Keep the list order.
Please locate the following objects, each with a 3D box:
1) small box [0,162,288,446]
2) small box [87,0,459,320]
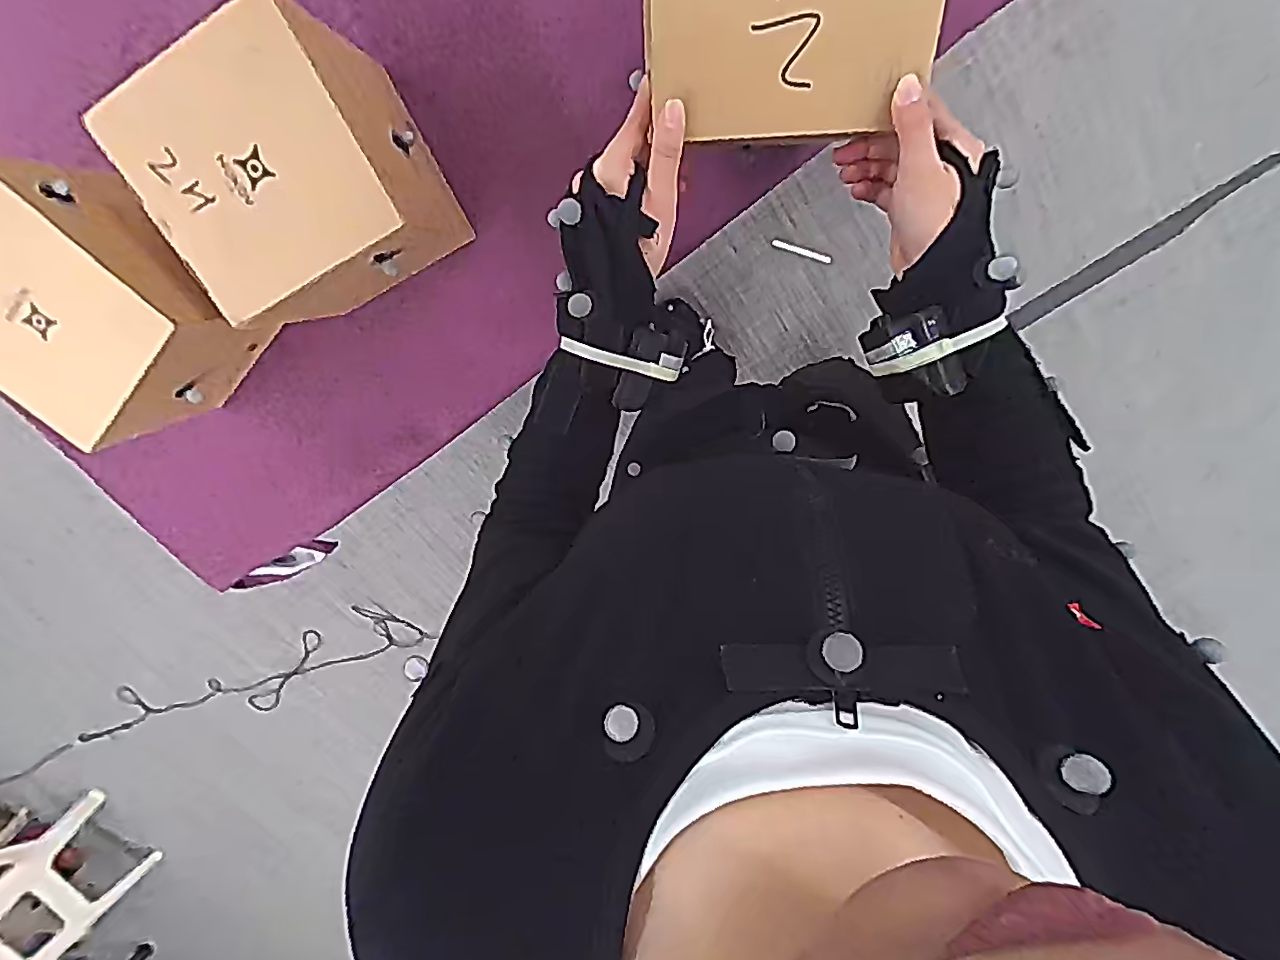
[{"bbox_3d":[-0.490,-0.167,0.516,0.168,0.176,0.179,-42,105,17],"label":"small box"},{"bbox_3d":[-0.282,-0.260,0.469,0.179,0.176,0.168,-25,108,12],"label":"small box"}]
